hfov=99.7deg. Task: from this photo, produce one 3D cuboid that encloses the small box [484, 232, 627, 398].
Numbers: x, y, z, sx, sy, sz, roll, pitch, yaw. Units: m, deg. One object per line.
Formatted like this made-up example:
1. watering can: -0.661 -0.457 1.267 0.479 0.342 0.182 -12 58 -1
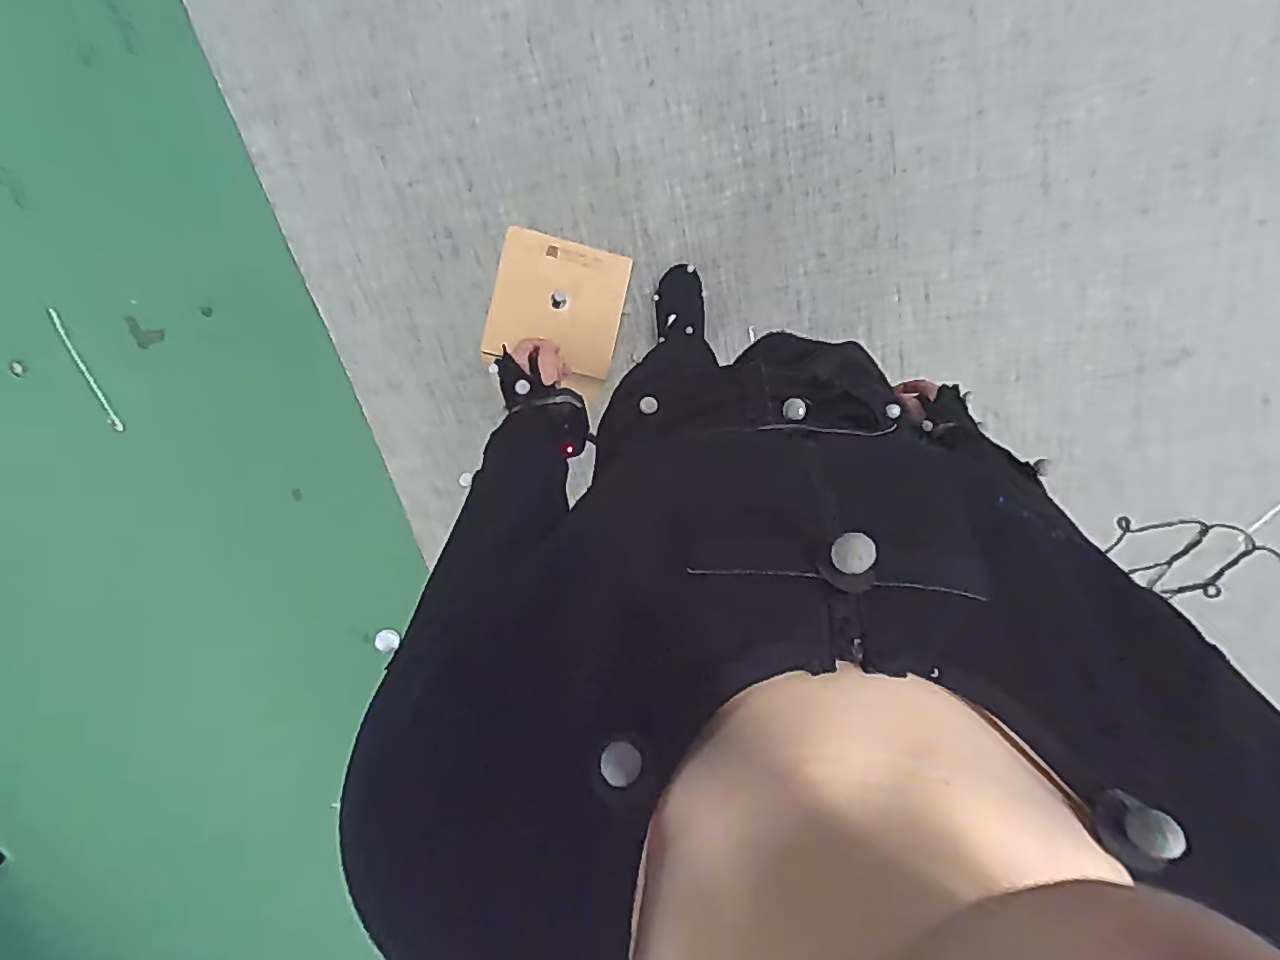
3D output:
1. small box: -0.118 -0.226 0.771 0.168 0.179 0.176 11 89 -9
